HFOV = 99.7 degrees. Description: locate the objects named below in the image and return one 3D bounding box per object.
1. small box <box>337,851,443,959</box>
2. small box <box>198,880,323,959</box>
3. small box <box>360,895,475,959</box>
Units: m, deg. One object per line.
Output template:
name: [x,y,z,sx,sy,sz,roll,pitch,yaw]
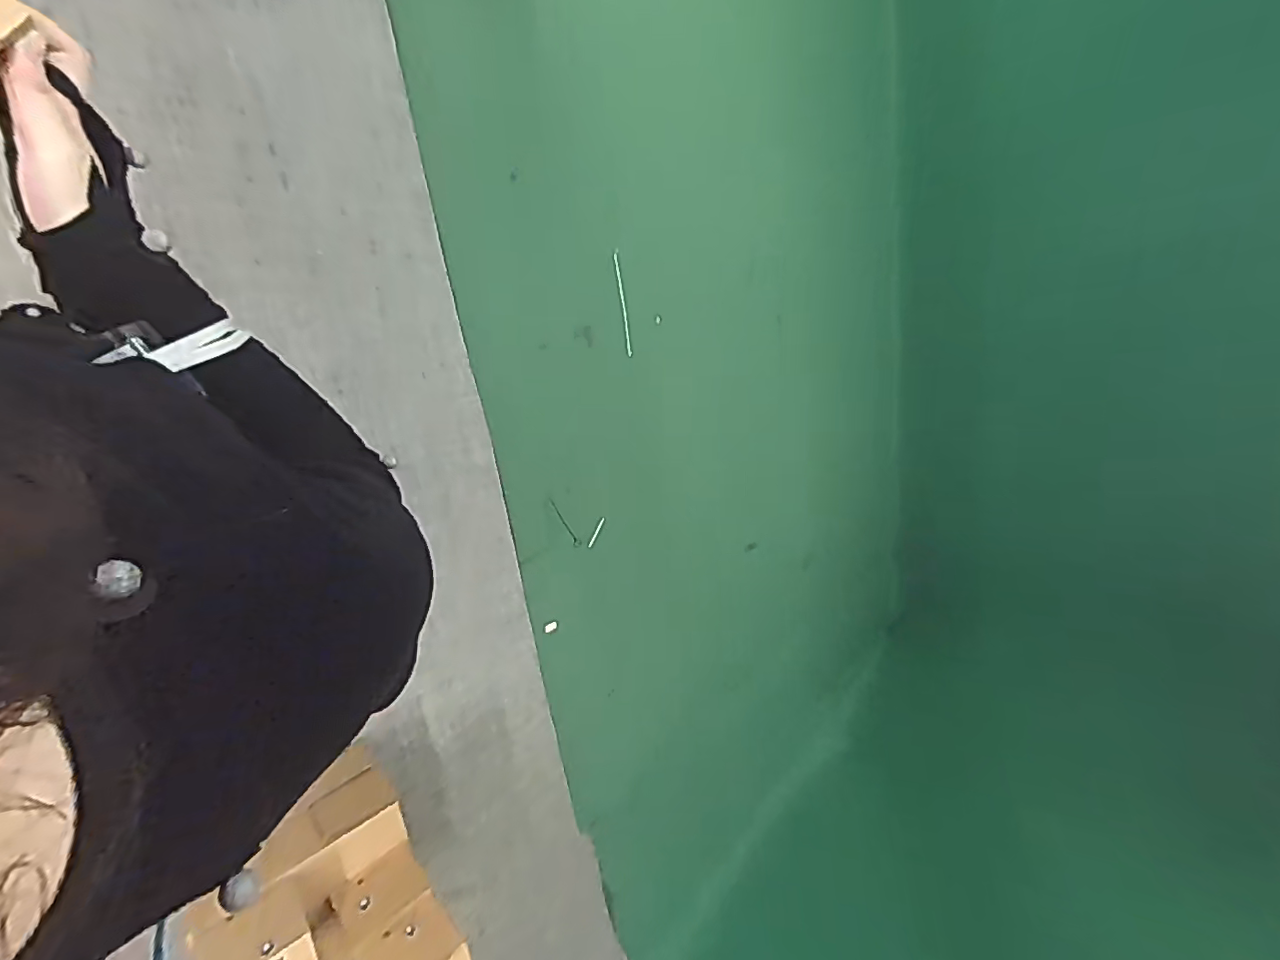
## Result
small box: [-0.548,0.977,1.203,0.168,0.176,0.179,-20,112,-41]
small box: [-0.712,0.927,1.028,0.168,0.176,0.179,-17,110,-42]
small box: [-0.437,1.002,1.086,0.168,0.176,0.179,-20,109,-41]
